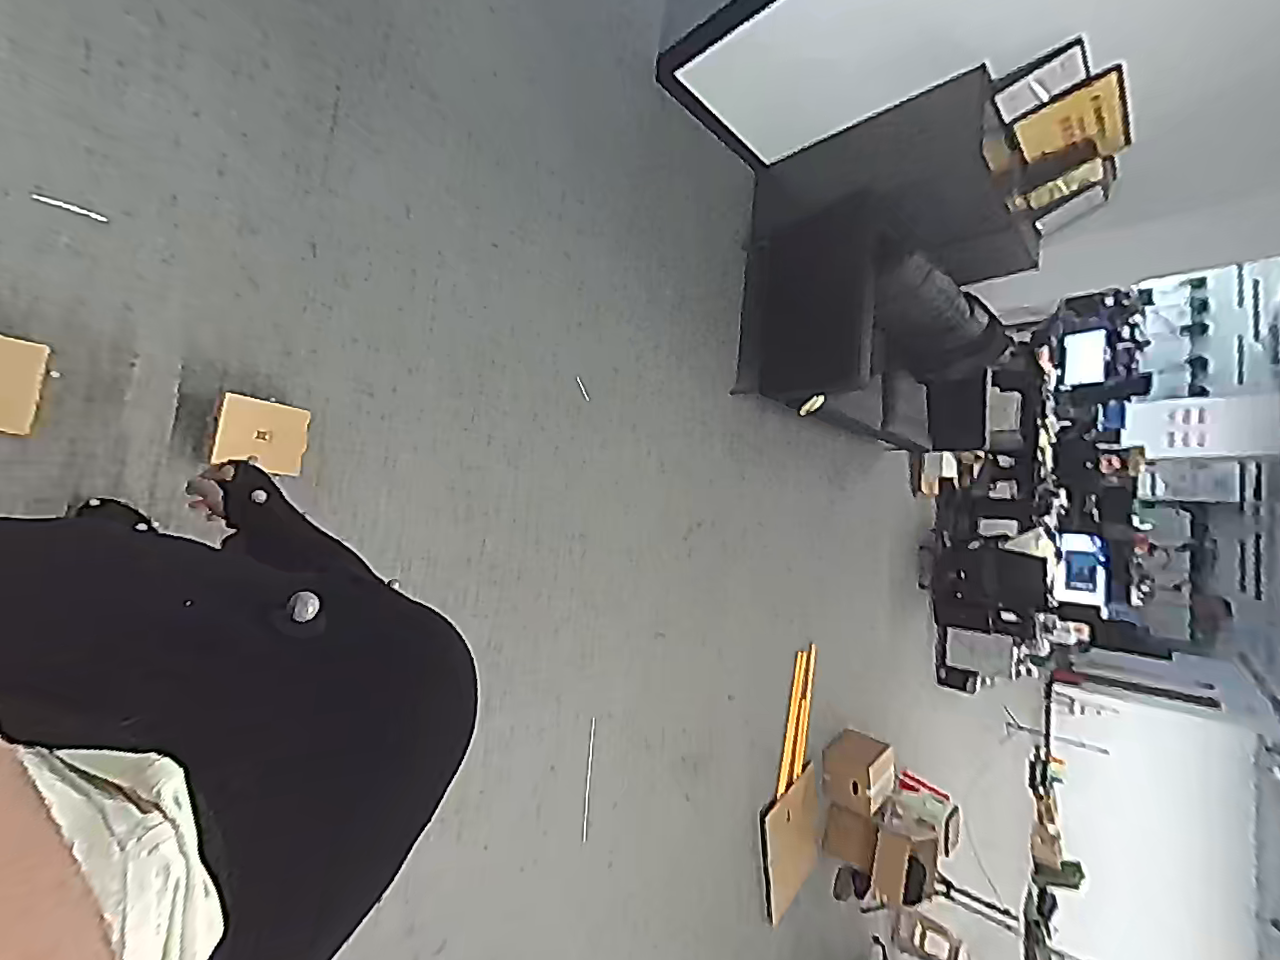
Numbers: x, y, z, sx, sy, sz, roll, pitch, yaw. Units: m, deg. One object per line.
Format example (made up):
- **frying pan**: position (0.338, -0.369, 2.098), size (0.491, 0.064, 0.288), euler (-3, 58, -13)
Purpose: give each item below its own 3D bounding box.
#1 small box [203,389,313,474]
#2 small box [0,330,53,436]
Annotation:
- **small box**: position (-0.927, -0.108, 1.307), size (0.179, 0.176, 0.168), euler (14, 81, -45)
- **small box**: position (-1.226, -0.186, 1.002), size (0.168, 0.176, 0.179), euler (13, 81, -44)
